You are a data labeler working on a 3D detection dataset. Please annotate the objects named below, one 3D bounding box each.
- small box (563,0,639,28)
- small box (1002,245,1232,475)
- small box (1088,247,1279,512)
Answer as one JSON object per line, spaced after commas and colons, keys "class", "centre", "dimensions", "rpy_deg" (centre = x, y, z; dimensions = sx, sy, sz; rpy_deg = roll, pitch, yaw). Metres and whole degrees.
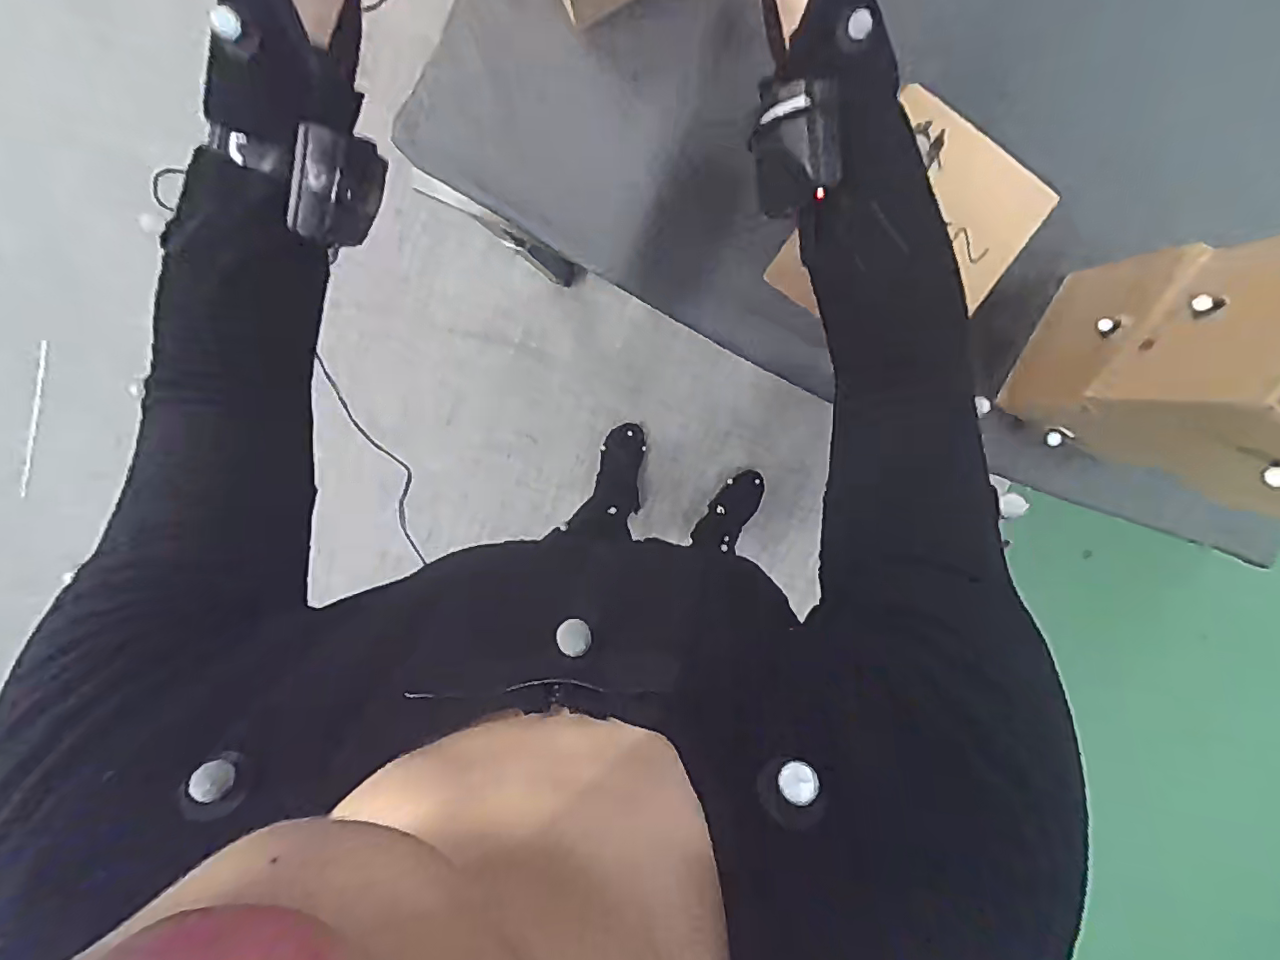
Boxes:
{"class": "small box", "centre": [-0.039, -0.605, 0.519], "dimensions": [0.168, 0.176, 0.179], "rpy_deg": [-26, 99, 7]}
{"class": "small box", "centre": [0.548, -0.120, 0.590], "dimensions": [0.168, 0.176, 0.179], "rpy_deg": [25, 101, -1]}
{"class": "small box", "centre": [0.536, -0.077, 0.433], "dimensions": [0.179, 0.176, 0.168], "rpy_deg": [35, 99, -3]}
